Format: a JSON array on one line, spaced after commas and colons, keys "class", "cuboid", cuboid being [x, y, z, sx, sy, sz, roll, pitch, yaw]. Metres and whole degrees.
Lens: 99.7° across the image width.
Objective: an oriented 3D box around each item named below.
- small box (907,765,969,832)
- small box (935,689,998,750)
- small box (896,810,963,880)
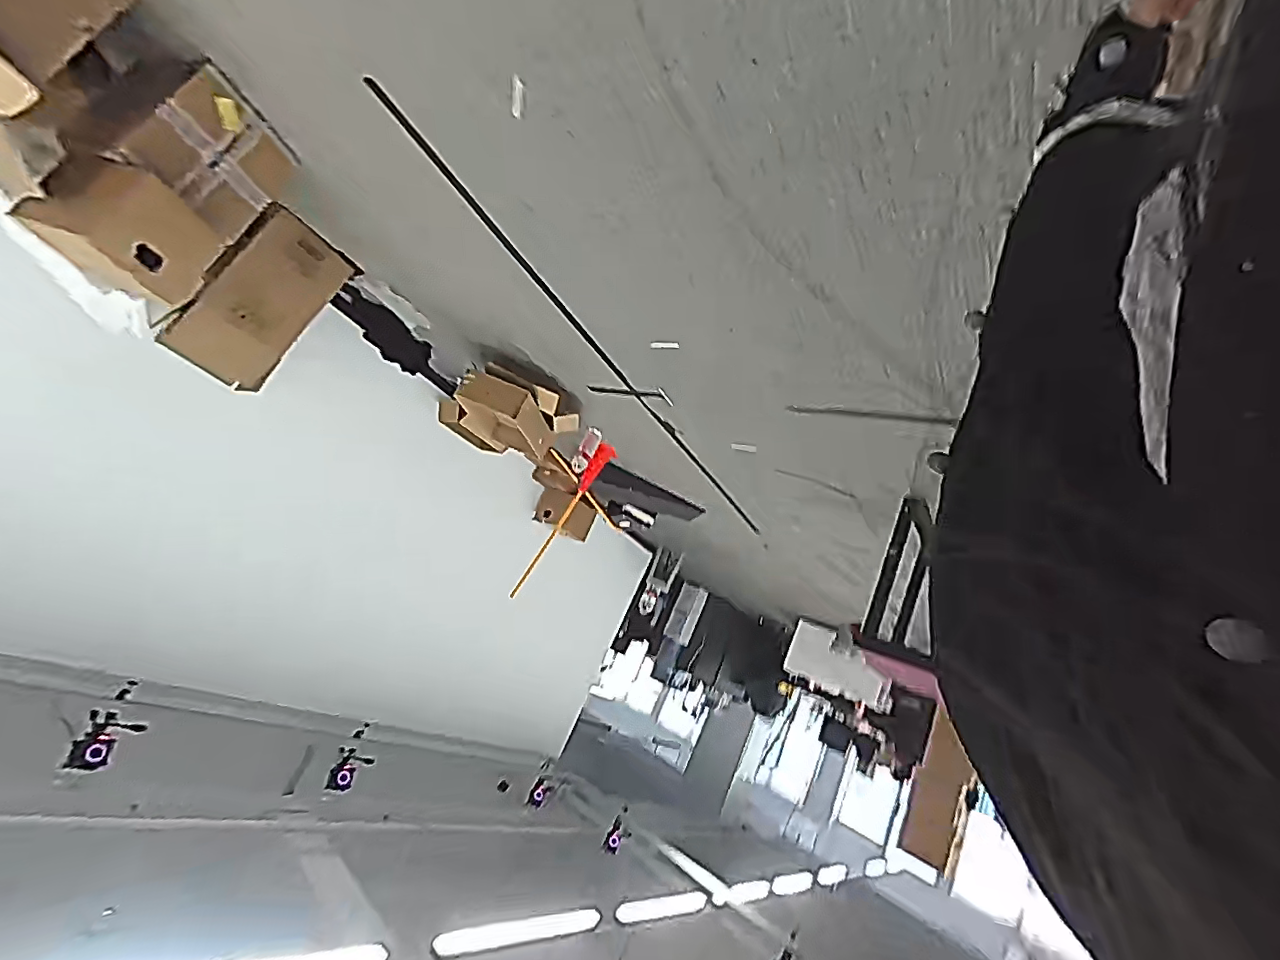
[{"class": "small box", "cuboid": [1.166, 1.238, 2.106, 0.168, 0.176, 0.179, 12, 159, 41]}, {"class": "small box", "cuboid": [1.320, 0.959, 2.182, 0.179, 0.176, 0.168, 11, 159, 41]}, {"class": "small box", "cuboid": [1.107, 1.385, 2.065, 0.179, 0.176, 0.168, 11, 158, 42]}]
